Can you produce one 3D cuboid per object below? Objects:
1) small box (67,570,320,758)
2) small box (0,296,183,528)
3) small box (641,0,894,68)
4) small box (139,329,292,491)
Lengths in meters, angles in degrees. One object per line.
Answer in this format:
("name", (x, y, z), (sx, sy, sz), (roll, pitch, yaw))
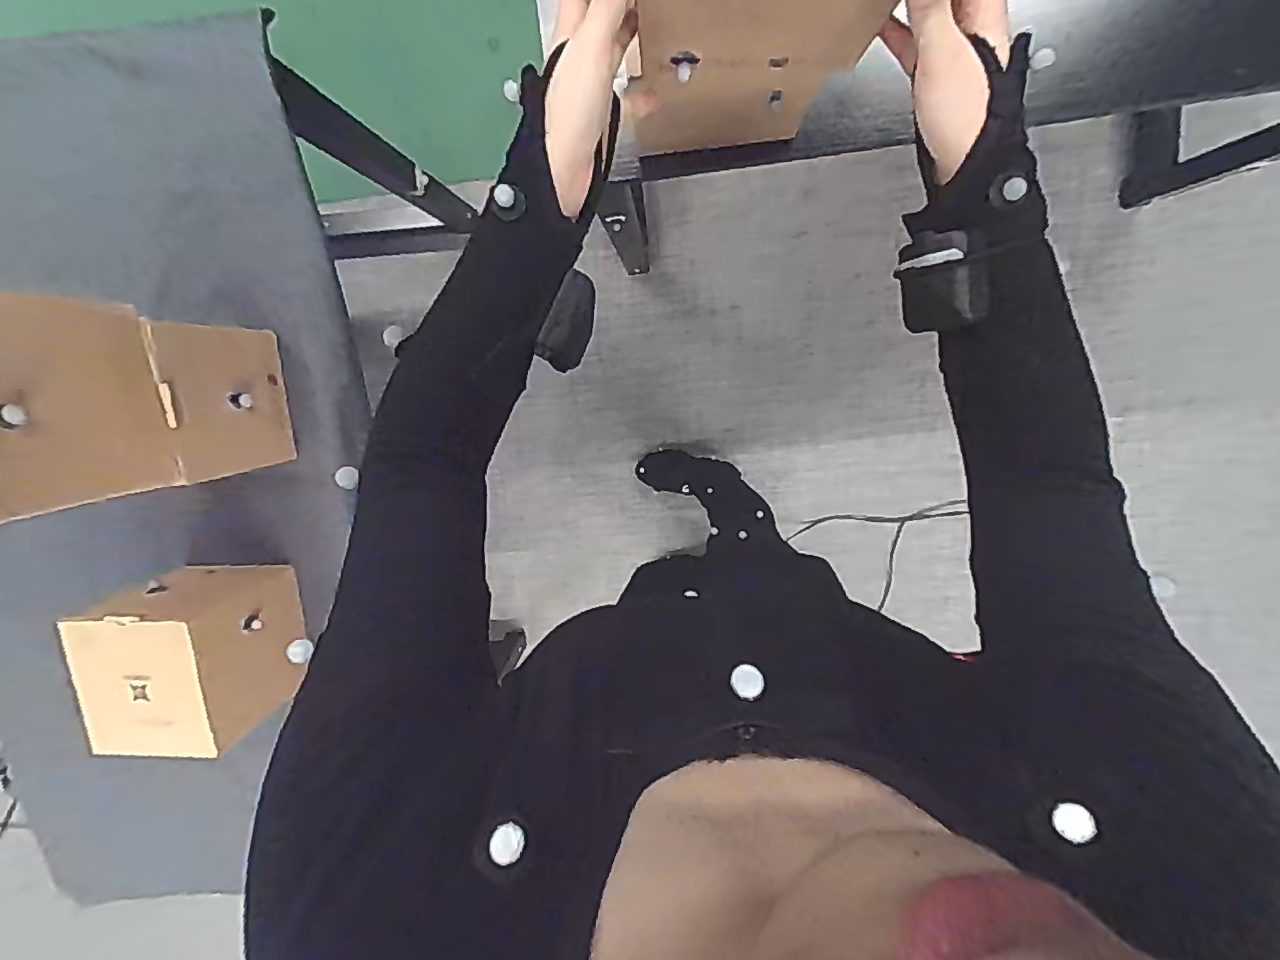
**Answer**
("small box", (-0.550, 0.222, 0.693), (0.168, 0.176, 0.179), (-2, 103, 7))
("small box", (-0.554, -0.060, 0.464), (0.168, 0.176, 0.179), (-3, 103, 6))
("small box", (0.082, -0.378, 0.323), (0.168, 0.176, 0.179), (0, 105, 3))
("small box", (-0.538, -0.086, 0.624), (0.179, 0.176, 0.168), (-1, 103, 5))
